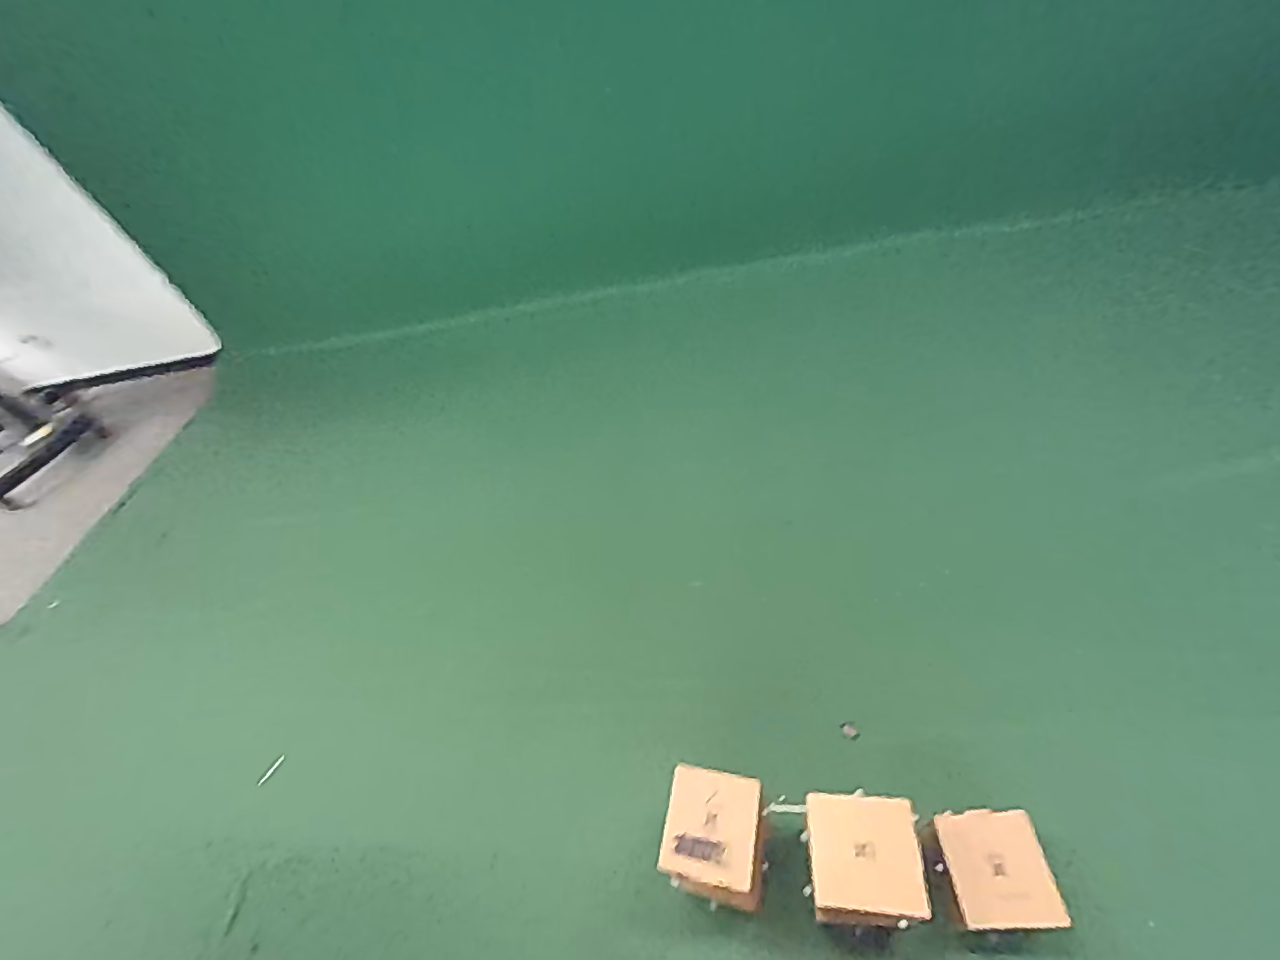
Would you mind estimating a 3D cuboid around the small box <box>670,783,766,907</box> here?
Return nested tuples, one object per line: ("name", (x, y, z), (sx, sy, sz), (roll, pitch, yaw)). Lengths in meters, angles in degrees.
("small box", (0.176, 0.783, 1.161), (0.168, 0.176, 0.179), (3, 52, 21))

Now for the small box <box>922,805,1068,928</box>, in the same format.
("small box", (0.666, 0.747, 1.043), (0.168, 0.176, 0.179), (-9, 48, 10))

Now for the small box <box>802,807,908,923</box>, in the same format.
("small box", (0.425, 0.776, 1.091), (0.168, 0.176, 0.179), (-6, 48, 12))

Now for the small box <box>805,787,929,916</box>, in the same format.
("small box", (0.396, 0.668, 0.972), (0.179, 0.176, 0.168), (-4, 49, 13))
